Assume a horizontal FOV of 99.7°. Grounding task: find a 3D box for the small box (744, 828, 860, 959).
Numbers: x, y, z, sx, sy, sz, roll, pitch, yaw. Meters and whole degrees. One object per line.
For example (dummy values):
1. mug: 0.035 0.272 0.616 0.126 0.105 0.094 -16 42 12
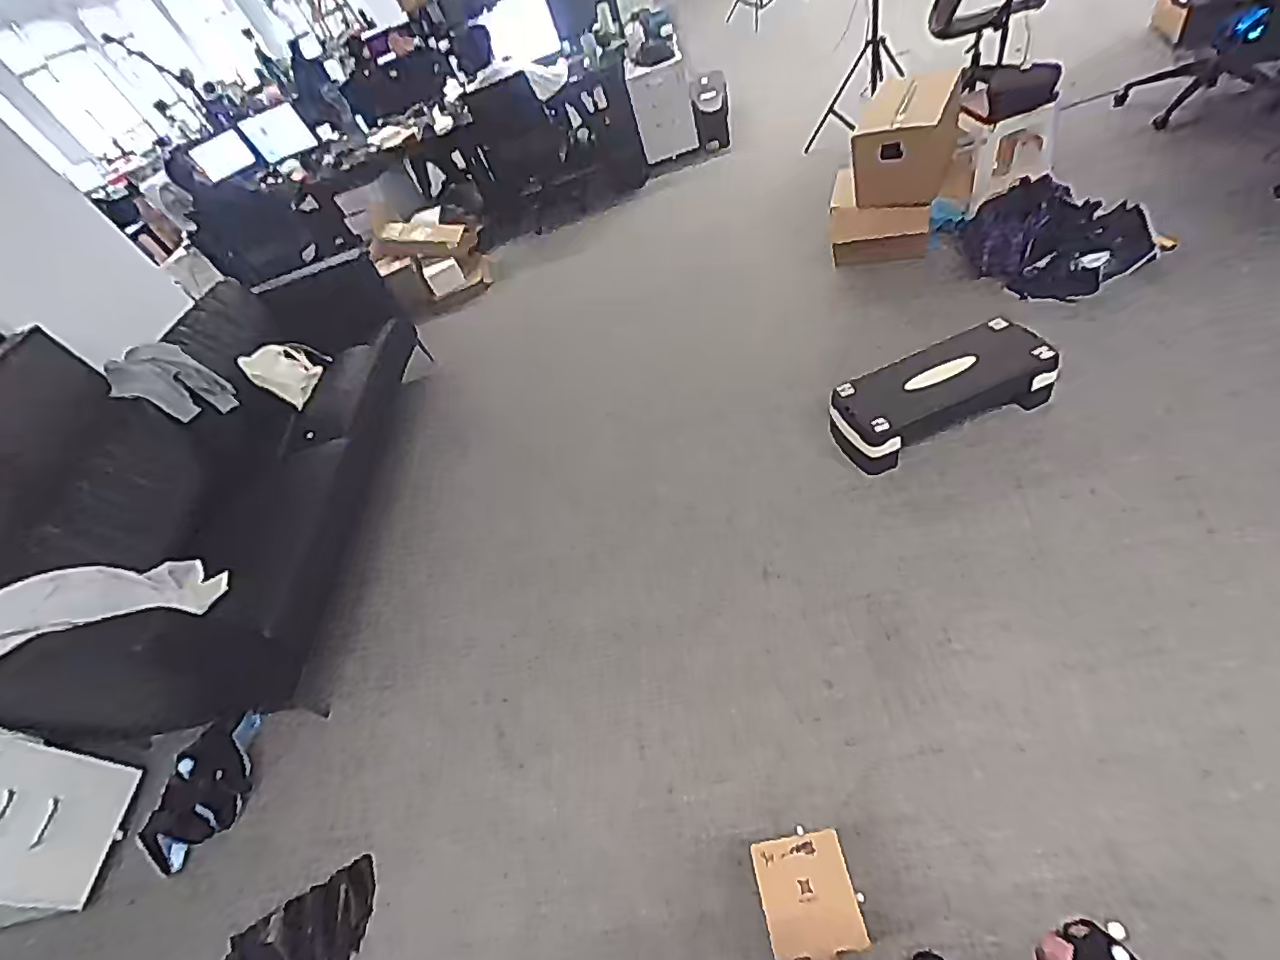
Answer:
1. small box: 0.310 0.790 1.033 0.168 0.176 0.179 -17 48 8
